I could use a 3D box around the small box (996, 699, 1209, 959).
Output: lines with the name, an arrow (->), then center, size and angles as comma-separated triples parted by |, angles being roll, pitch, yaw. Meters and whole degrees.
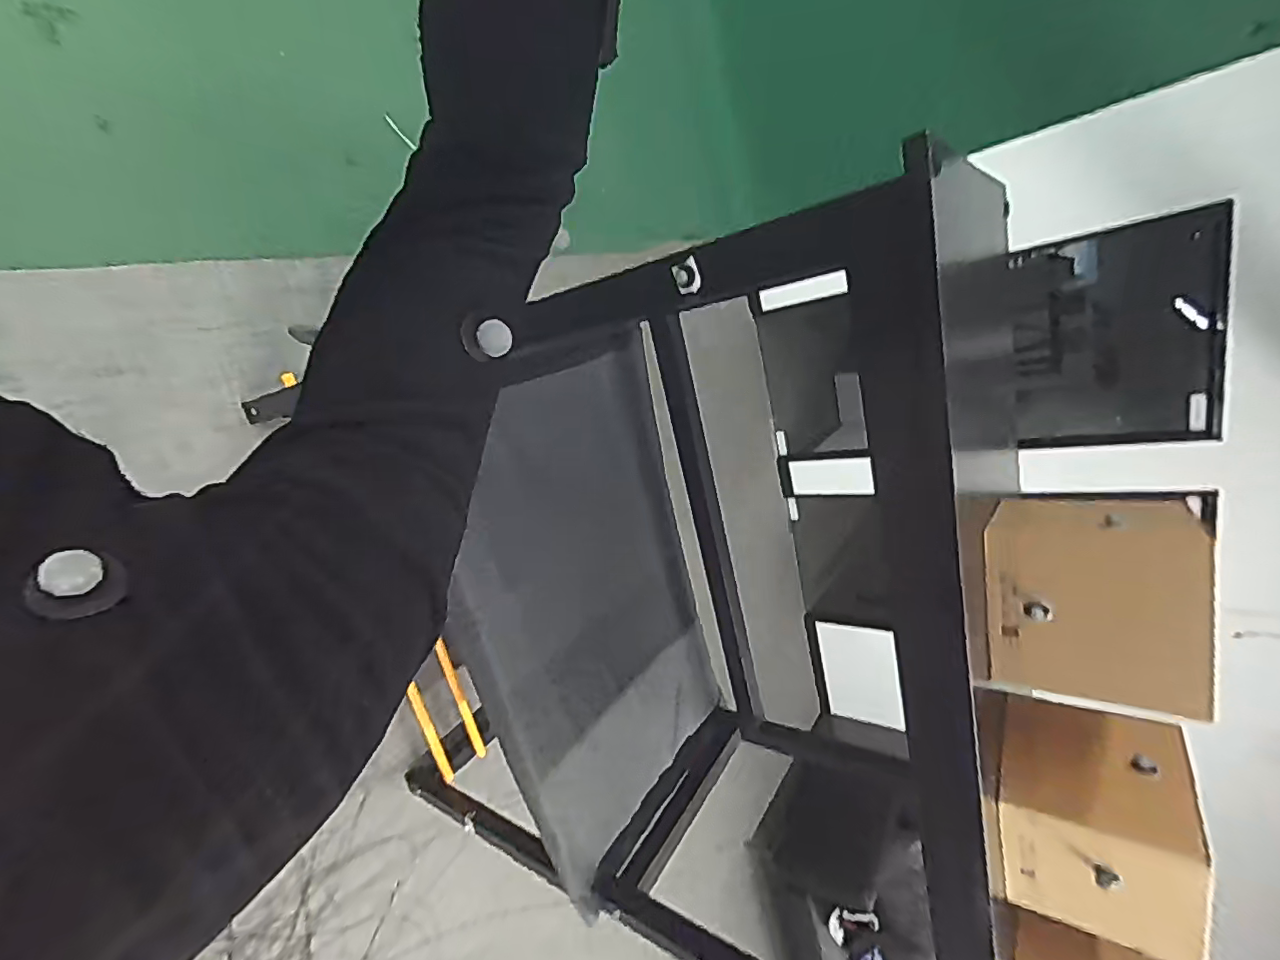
small box -> 0.518, 0.388, 0.624 | 0.179, 0.176, 0.168 | -38, 118, -46
